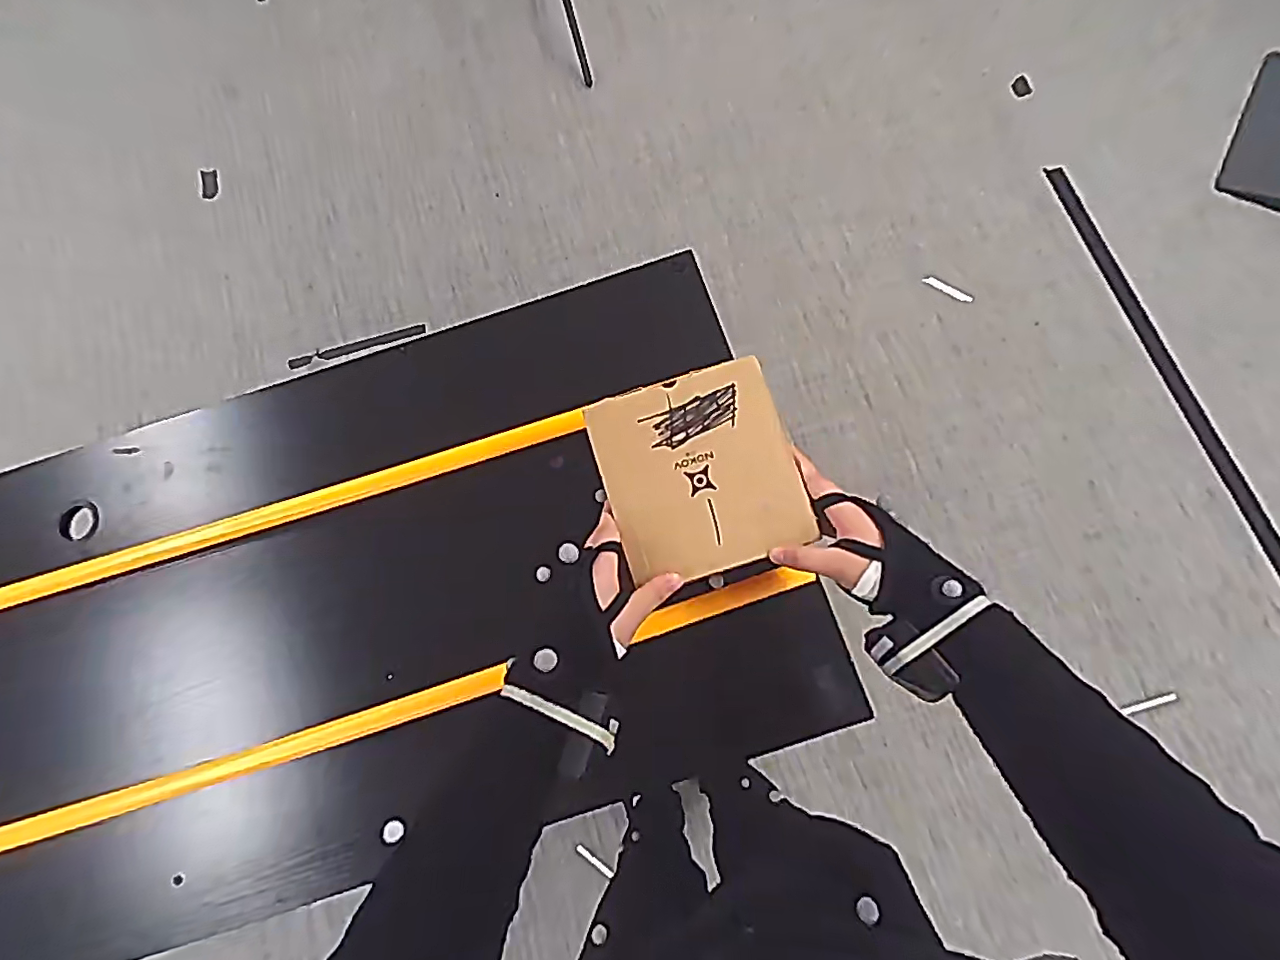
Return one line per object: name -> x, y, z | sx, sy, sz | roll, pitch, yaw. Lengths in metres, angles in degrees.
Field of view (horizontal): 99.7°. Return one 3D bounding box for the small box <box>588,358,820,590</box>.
small box -> 0.056, 0.006, 0.552 | 0.168, 0.176, 0.179 | -17, 80, 1
